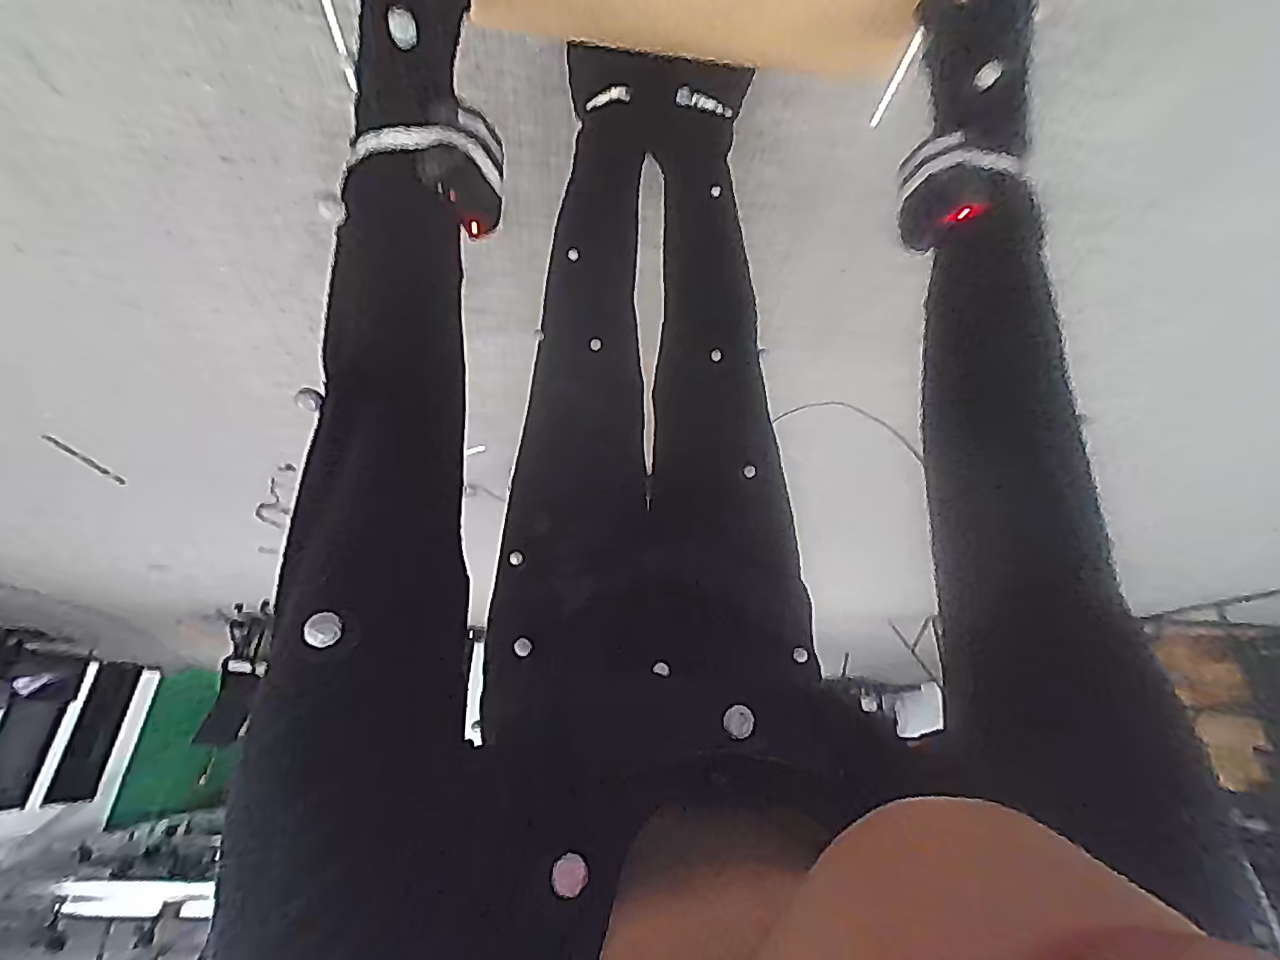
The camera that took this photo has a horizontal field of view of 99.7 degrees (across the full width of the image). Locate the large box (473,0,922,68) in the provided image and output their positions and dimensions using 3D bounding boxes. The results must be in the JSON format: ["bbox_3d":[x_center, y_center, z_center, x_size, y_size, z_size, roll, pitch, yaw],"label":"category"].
[{"bbox_3d":[0.061,-0.606,0.433,0.408,0.320,0.320,2,156,-6],"label":"large box"}]
